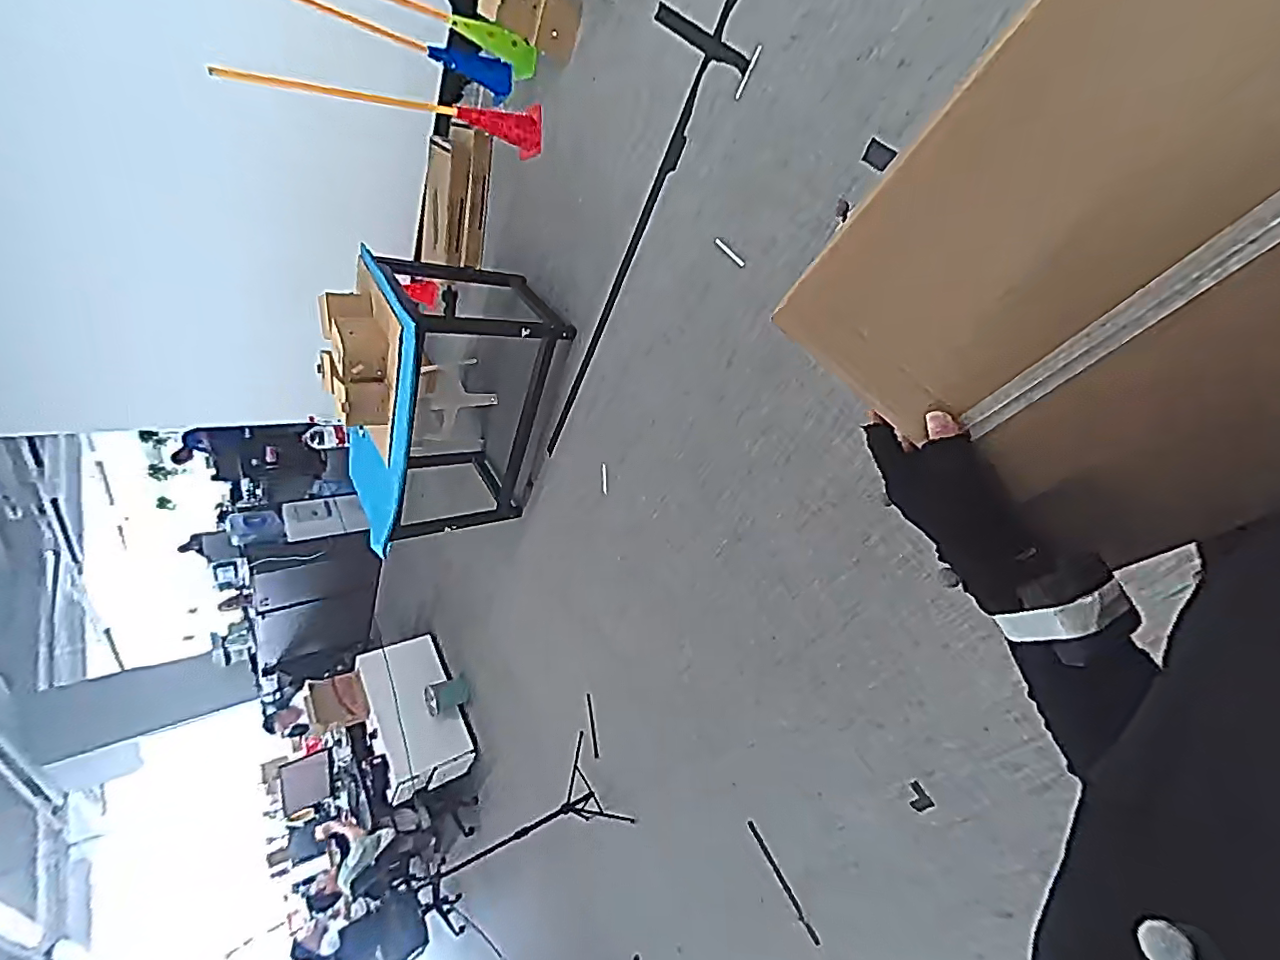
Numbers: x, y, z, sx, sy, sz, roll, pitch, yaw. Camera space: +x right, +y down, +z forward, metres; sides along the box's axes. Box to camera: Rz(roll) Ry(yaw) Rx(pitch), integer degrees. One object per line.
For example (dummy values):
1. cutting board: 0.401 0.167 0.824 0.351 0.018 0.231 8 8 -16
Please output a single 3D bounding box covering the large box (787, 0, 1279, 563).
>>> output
1. large box: 0.379 -0.216 0.379 0.320 0.320 0.408 39 137 -1
